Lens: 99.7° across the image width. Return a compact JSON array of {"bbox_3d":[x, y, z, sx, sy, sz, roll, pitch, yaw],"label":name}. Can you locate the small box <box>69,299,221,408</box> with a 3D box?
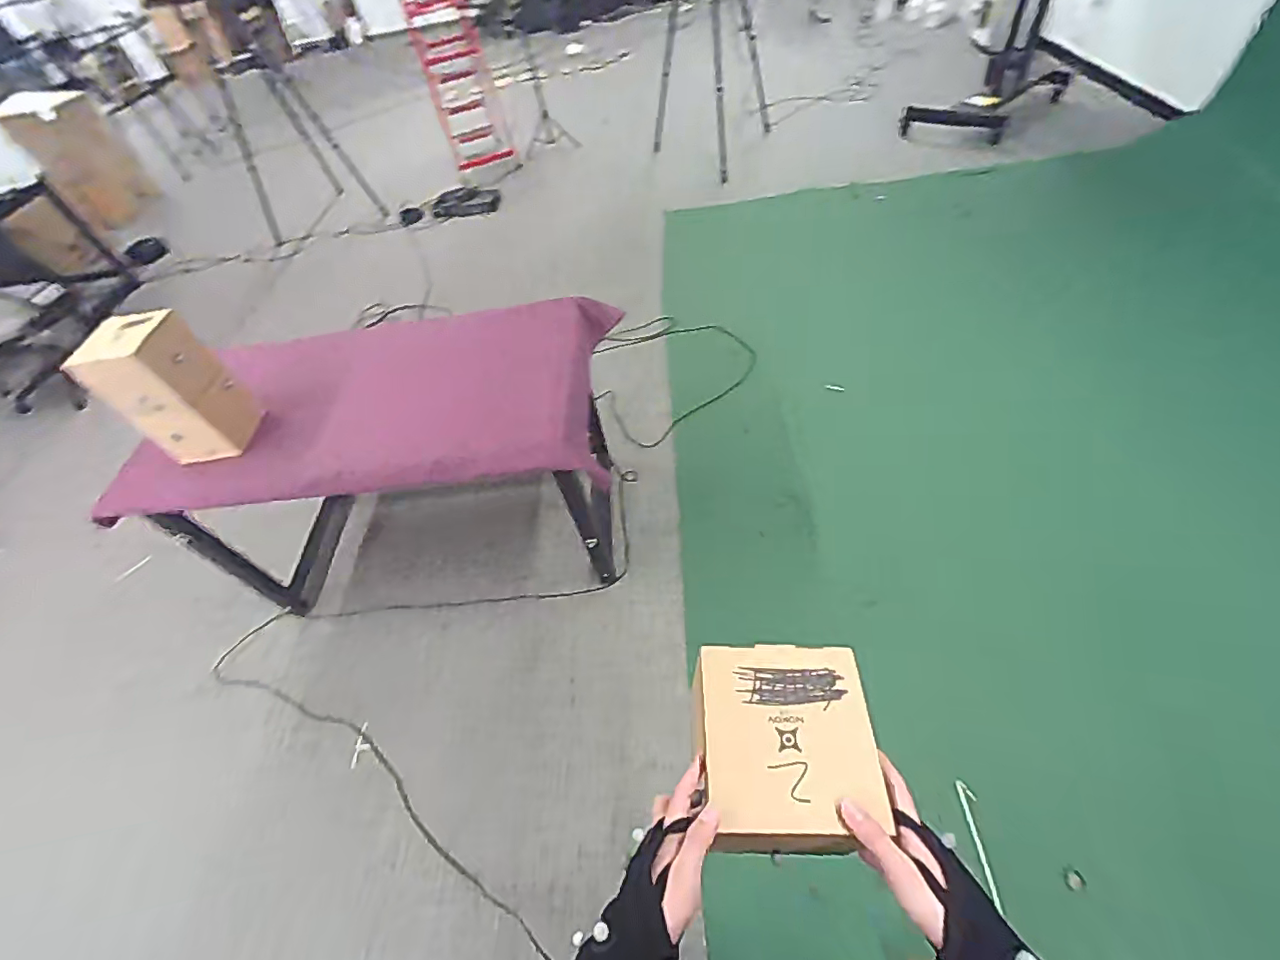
[{"bbox_3d":[-1.141,-0.295,1.268,0.168,0.176,0.179,-7,52,5],"label":"small box"}]

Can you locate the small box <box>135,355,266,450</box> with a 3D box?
[{"bbox_3d":[-1.118,-0.192,1.395,0.168,0.176,0.179,-7,51,5],"label":"small box"}]
